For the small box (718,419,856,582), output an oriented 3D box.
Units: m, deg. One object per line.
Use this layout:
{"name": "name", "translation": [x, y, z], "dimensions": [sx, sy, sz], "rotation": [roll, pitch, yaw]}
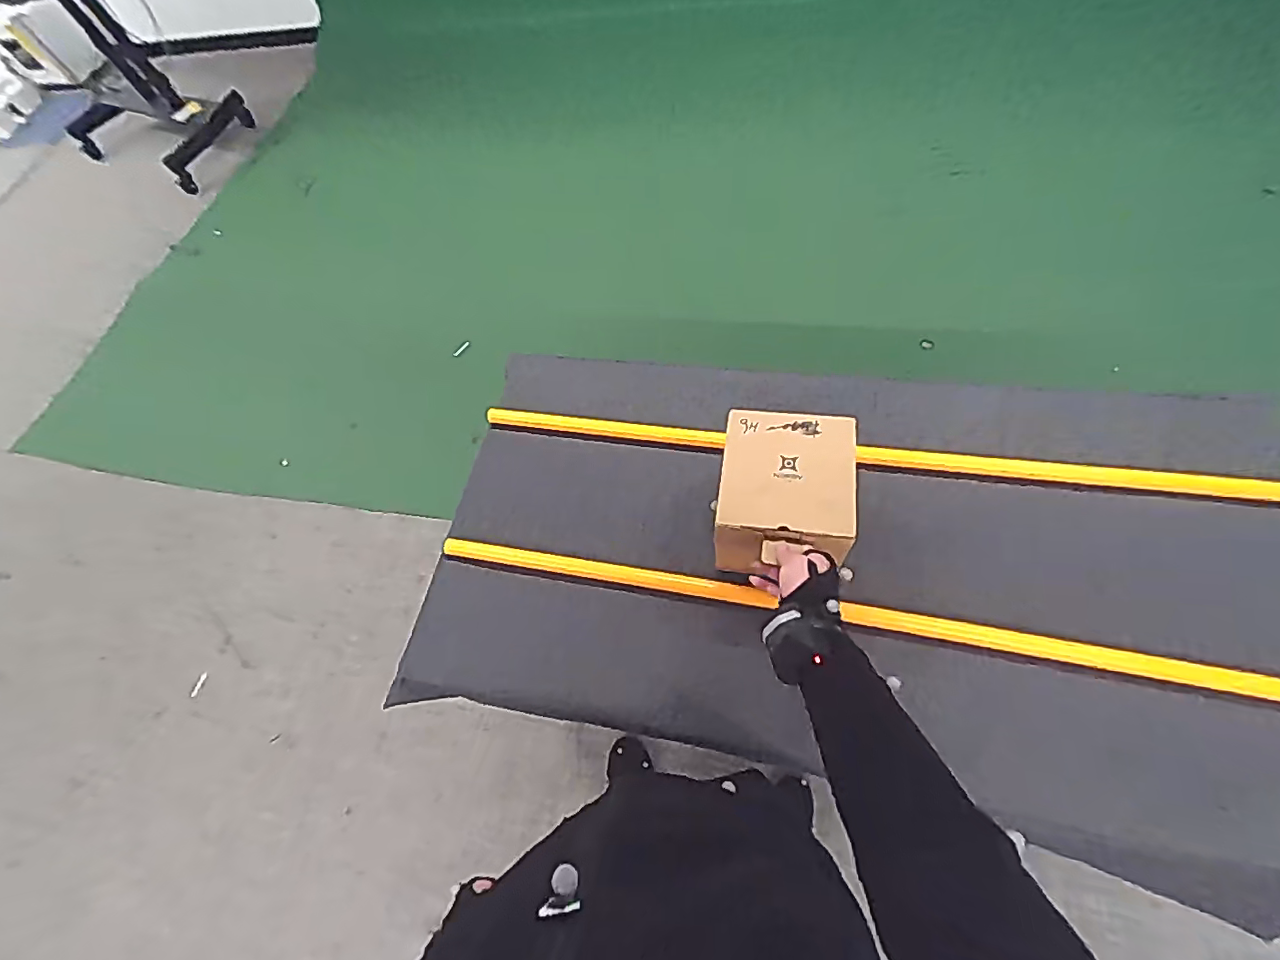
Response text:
{"name": "small box", "translation": [0.201, 0.033, 0.757], "dimensions": [0.168, 0.176, 0.179], "rotation": [2, 61, 12]}
